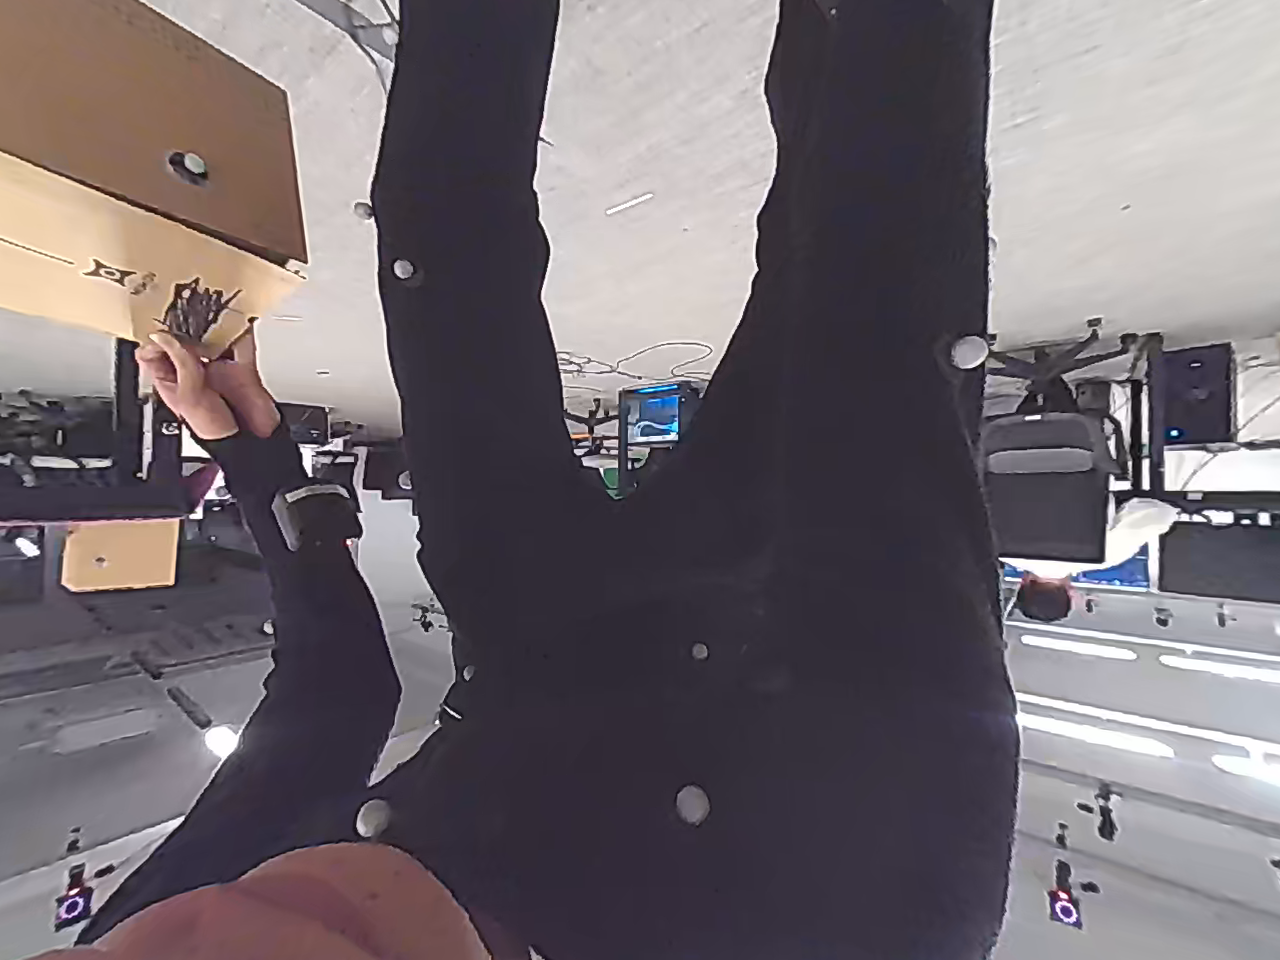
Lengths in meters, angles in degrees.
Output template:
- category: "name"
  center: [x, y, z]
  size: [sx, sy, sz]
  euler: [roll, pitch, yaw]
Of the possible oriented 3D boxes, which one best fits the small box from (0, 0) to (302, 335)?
- category: "small box"
  center: [-0.387, -0.235, 0.396]
  size: [0.168, 0.176, 0.179]
  euler: [-19, 167, 28]
